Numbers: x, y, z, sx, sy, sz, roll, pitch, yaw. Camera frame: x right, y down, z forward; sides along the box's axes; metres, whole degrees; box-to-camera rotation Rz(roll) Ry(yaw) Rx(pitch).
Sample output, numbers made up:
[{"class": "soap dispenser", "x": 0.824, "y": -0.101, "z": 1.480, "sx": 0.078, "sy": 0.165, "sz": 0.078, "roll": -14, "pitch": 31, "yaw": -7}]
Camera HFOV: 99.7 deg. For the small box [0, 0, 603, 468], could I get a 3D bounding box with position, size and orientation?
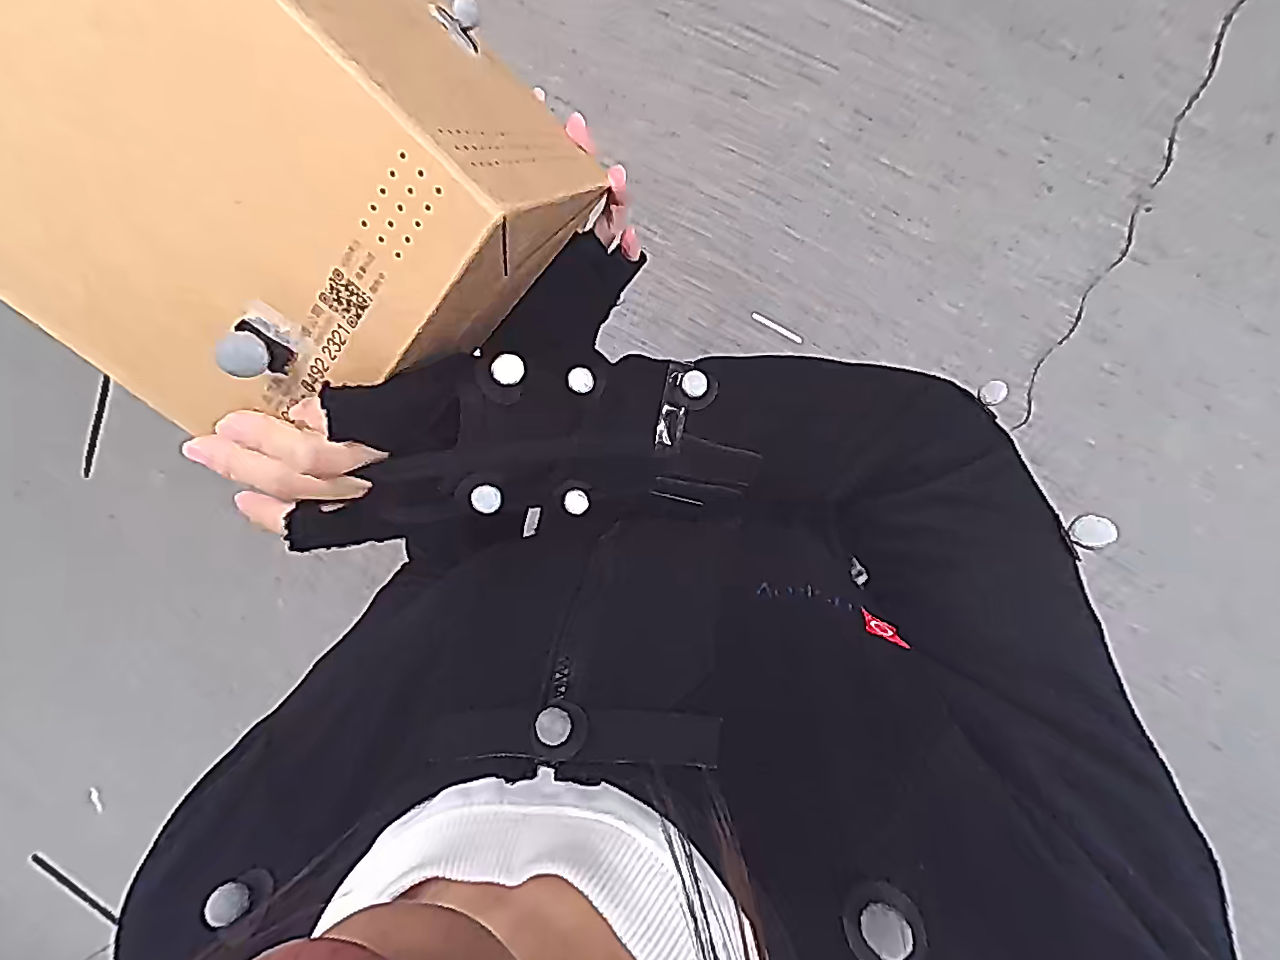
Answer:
[{"class": "small box", "x": -0.141, "y": -0.137, "z": 0.268, "sx": 0.176, "sy": 0.179, "sz": 0.168, "roll": 42, "pitch": 120, "yaw": -15}]
